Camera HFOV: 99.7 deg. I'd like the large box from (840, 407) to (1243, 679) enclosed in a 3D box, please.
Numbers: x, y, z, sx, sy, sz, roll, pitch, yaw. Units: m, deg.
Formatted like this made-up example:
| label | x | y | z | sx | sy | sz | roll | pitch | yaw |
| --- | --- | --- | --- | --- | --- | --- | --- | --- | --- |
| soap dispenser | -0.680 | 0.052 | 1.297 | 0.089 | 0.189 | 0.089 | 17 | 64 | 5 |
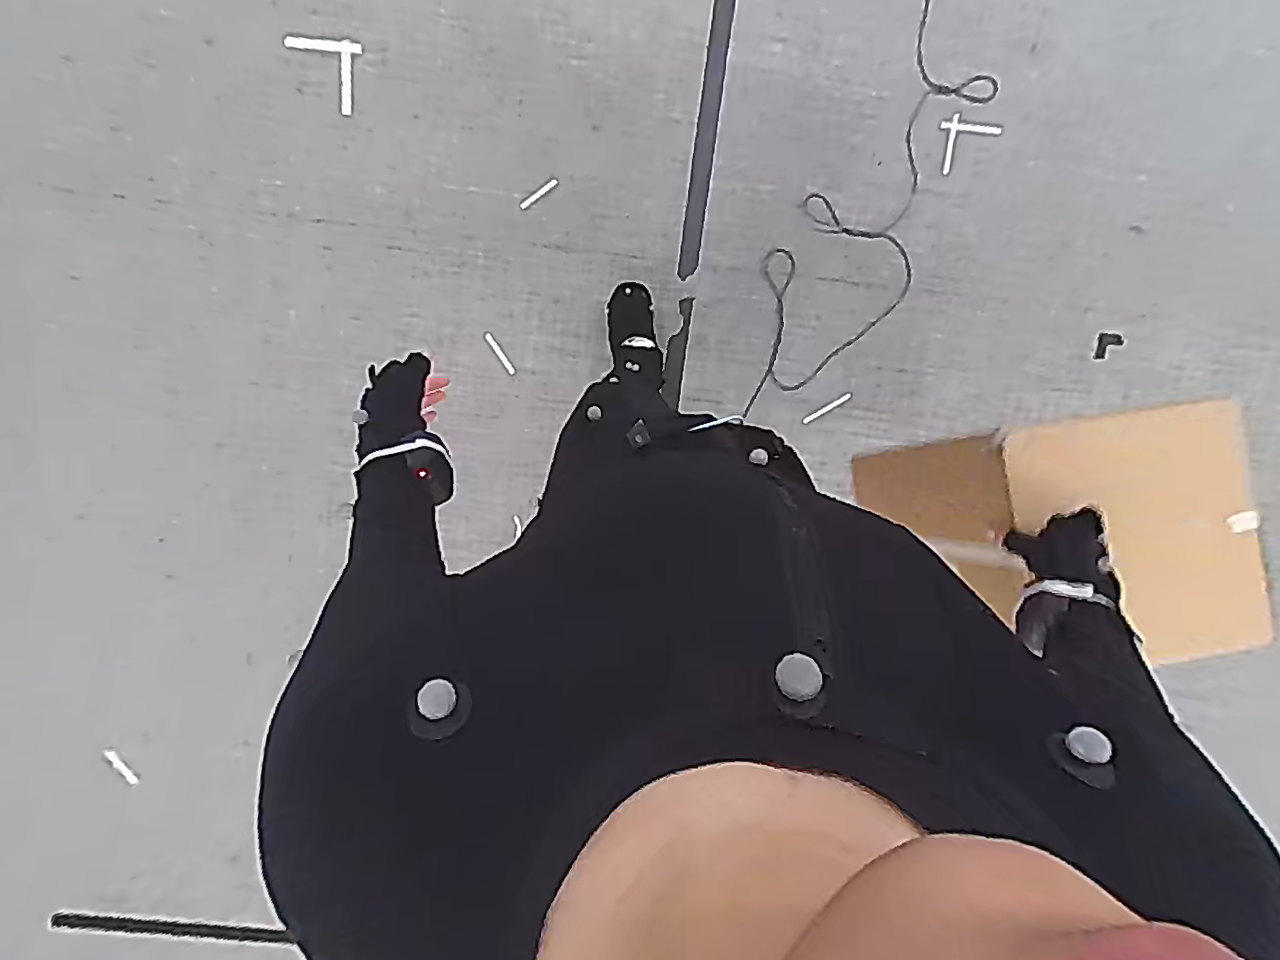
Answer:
| label | x | y | z | sx | sy | sz | roll | pitch | yaw |
| --- | --- | --- | --- | --- | --- | --- | --- | --- | --- |
| large box | 0.580 | 0.087 | 0.872 | 0.320 | 0.408 | 0.320 | -10 | 87 | -6 |
